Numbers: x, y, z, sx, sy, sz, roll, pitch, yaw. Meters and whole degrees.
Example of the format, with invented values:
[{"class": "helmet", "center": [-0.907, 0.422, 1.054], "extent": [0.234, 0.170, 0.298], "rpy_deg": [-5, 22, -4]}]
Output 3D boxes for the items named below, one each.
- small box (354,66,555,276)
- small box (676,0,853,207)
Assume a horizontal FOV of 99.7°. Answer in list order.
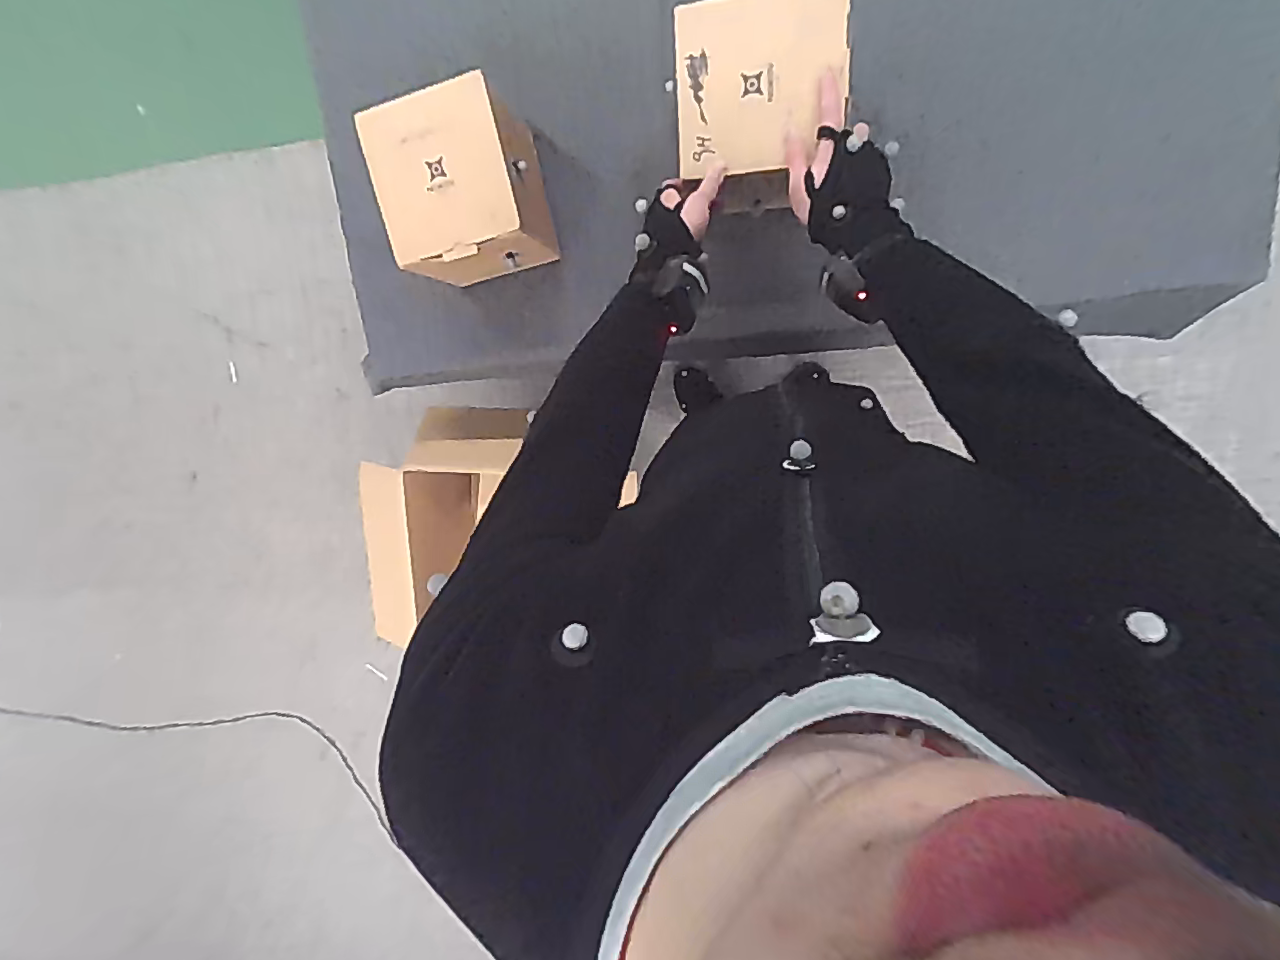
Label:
[{"class": "small box", "center": [-0.224, -0.377, 0.703], "extent": [0.168, 0.176, 0.179], "rpy_deg": [-12, 99, 10]}, {"class": "small box", "center": [0.135, -0.431, 0.632], "extent": [0.179, 0.176, 0.168], "rpy_deg": [-1, 104, 9]}]
